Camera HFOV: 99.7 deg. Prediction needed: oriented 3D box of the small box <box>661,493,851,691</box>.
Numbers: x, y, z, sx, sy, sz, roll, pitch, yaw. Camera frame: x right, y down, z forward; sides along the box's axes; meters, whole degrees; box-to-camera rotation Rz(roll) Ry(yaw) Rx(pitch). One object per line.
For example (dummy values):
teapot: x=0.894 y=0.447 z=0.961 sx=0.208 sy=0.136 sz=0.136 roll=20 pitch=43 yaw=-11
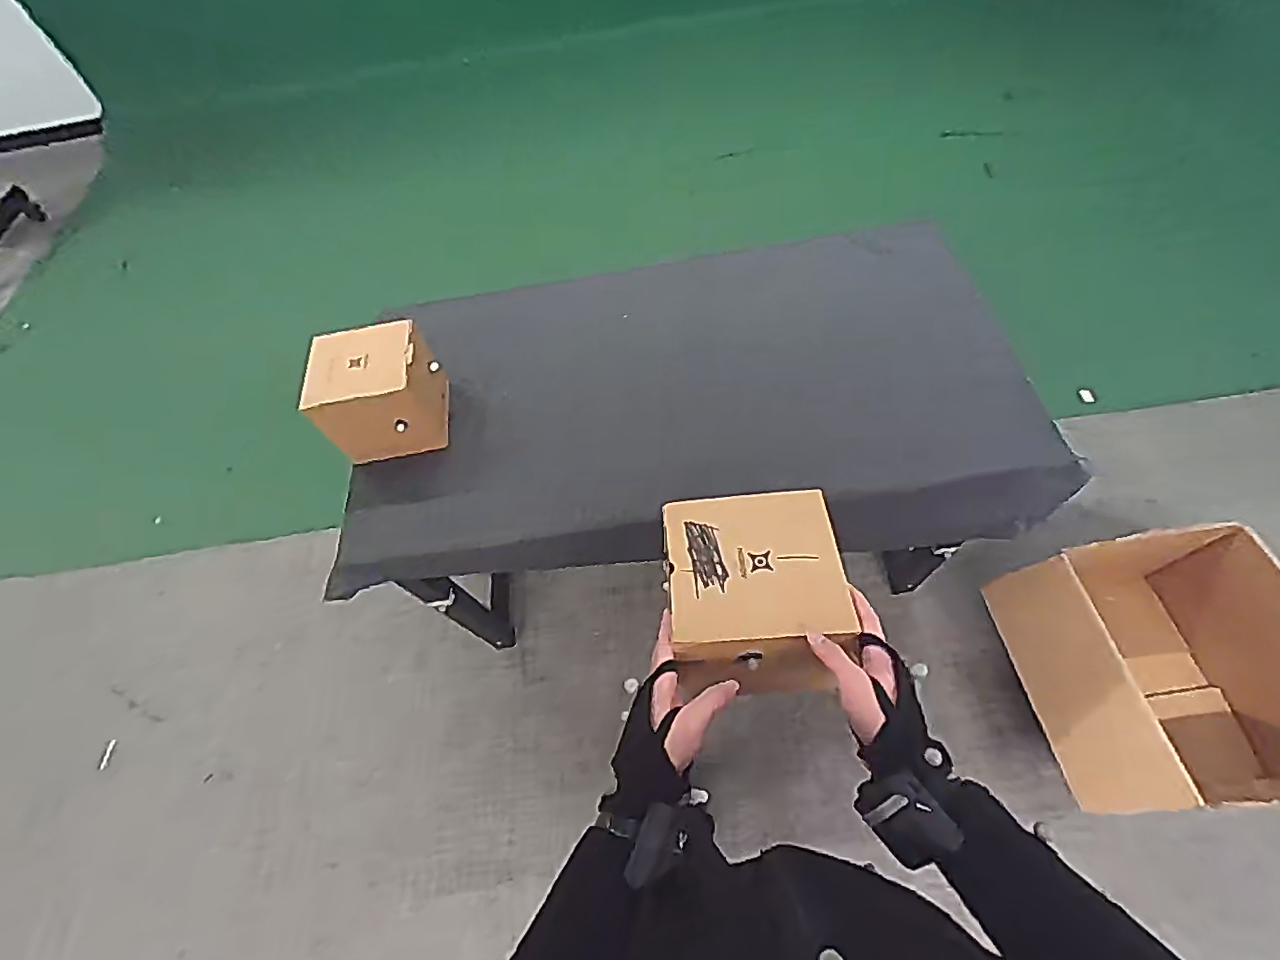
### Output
small box: x=0.121 y=0.131 z=0.607 sx=0.179 sy=0.176 sz=0.168 roll=-3 pitch=54 yaw=8

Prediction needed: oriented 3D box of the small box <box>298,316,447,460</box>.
small box: x=-0.455 y=-0.157 z=0.954 sx=0.179 sy=0.176 sz=0.168 roll=-12 pitch=59 yaw=1
